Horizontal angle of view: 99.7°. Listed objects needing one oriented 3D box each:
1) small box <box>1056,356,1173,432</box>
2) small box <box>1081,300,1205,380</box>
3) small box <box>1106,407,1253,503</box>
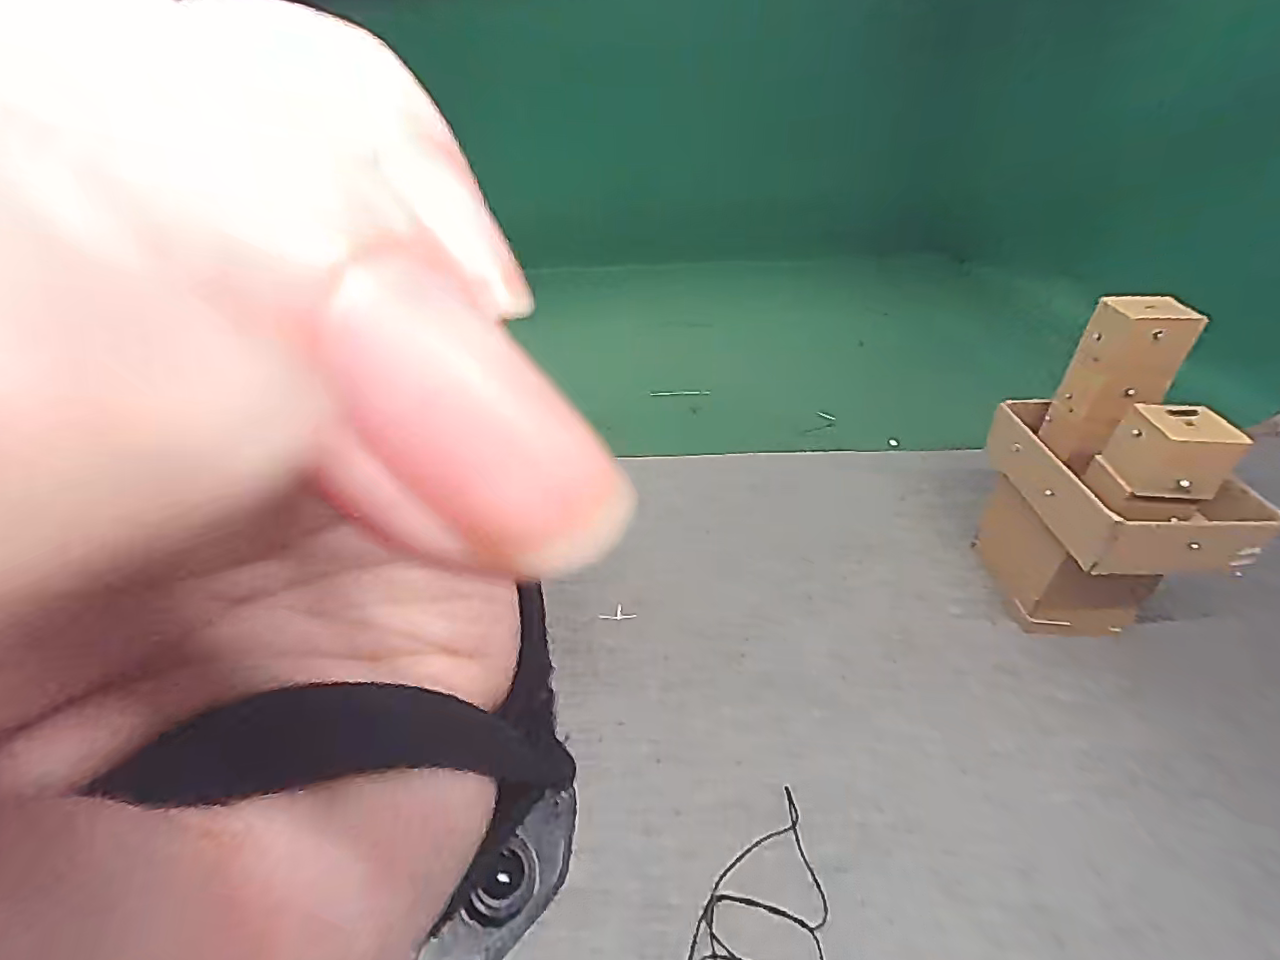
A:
[{"bbox_3d":[1.382,-0.252,1.591,0.179,0.176,0.168,3,37,9],"label":"small box"},{"bbox_3d":[1.372,-0.386,1.496,0.179,0.176,0.168,3,38,9],"label":"small box"},{"bbox_3d":[1.321,-0.065,1.344,0.168,0.176,0.179,3,37,9],"label":"small box"}]
